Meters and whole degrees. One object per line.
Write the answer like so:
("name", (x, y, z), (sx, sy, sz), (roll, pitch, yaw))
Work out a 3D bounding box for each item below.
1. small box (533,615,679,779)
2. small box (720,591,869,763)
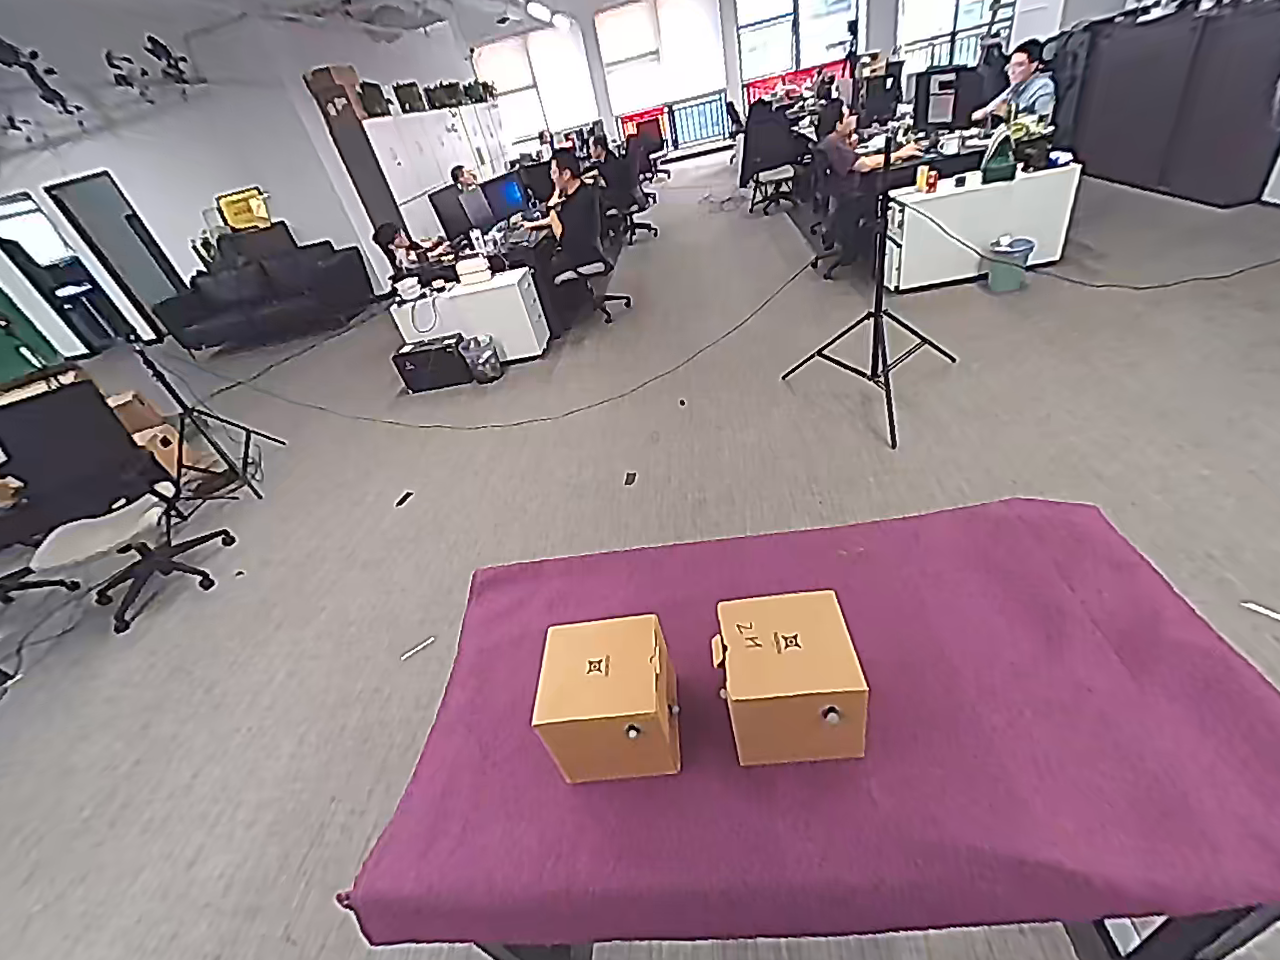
("small box", (-0.043, 0.333, 0.825), (0.179, 0.176, 0.168), (-9, 35, 7))
("small box", (0.218, 0.288, 0.789), (0.179, 0.176, 0.168), (-9, 35, 8))
